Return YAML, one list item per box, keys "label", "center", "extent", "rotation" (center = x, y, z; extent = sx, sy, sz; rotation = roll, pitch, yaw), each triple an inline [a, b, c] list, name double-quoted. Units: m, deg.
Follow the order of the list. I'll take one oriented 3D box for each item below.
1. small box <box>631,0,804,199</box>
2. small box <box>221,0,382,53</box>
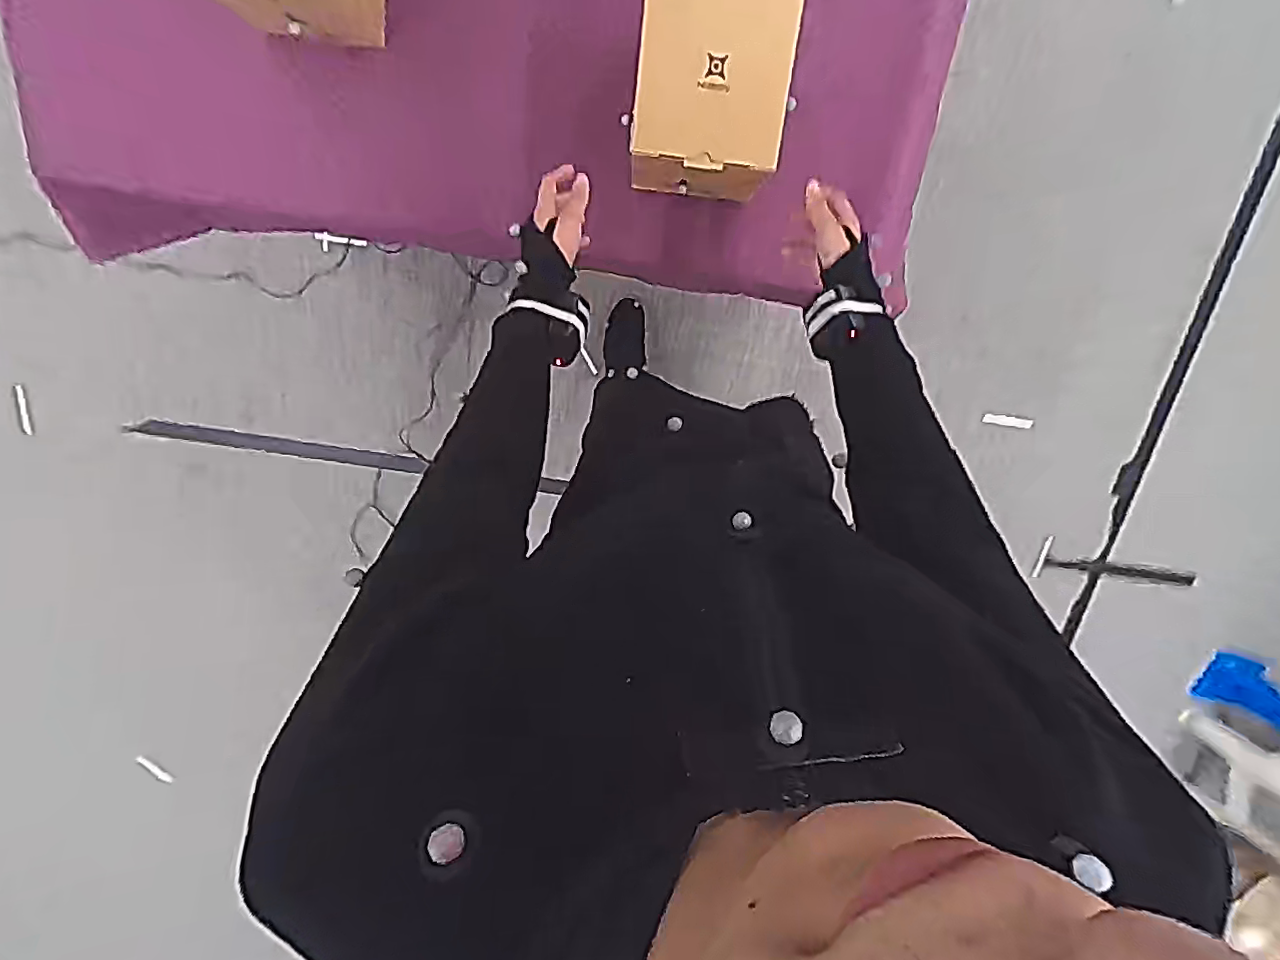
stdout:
- label: "small box"
  center: [0.079, -0.459, 0.652]
  extent: [0.168, 0.176, 0.179]
  rotation: [5, 108, -3]
- label: "small box"
  center: [-0.400, -0.619, 0.593]
  extent: [0.168, 0.176, 0.179]
  rotation: [7, 108, -2]
